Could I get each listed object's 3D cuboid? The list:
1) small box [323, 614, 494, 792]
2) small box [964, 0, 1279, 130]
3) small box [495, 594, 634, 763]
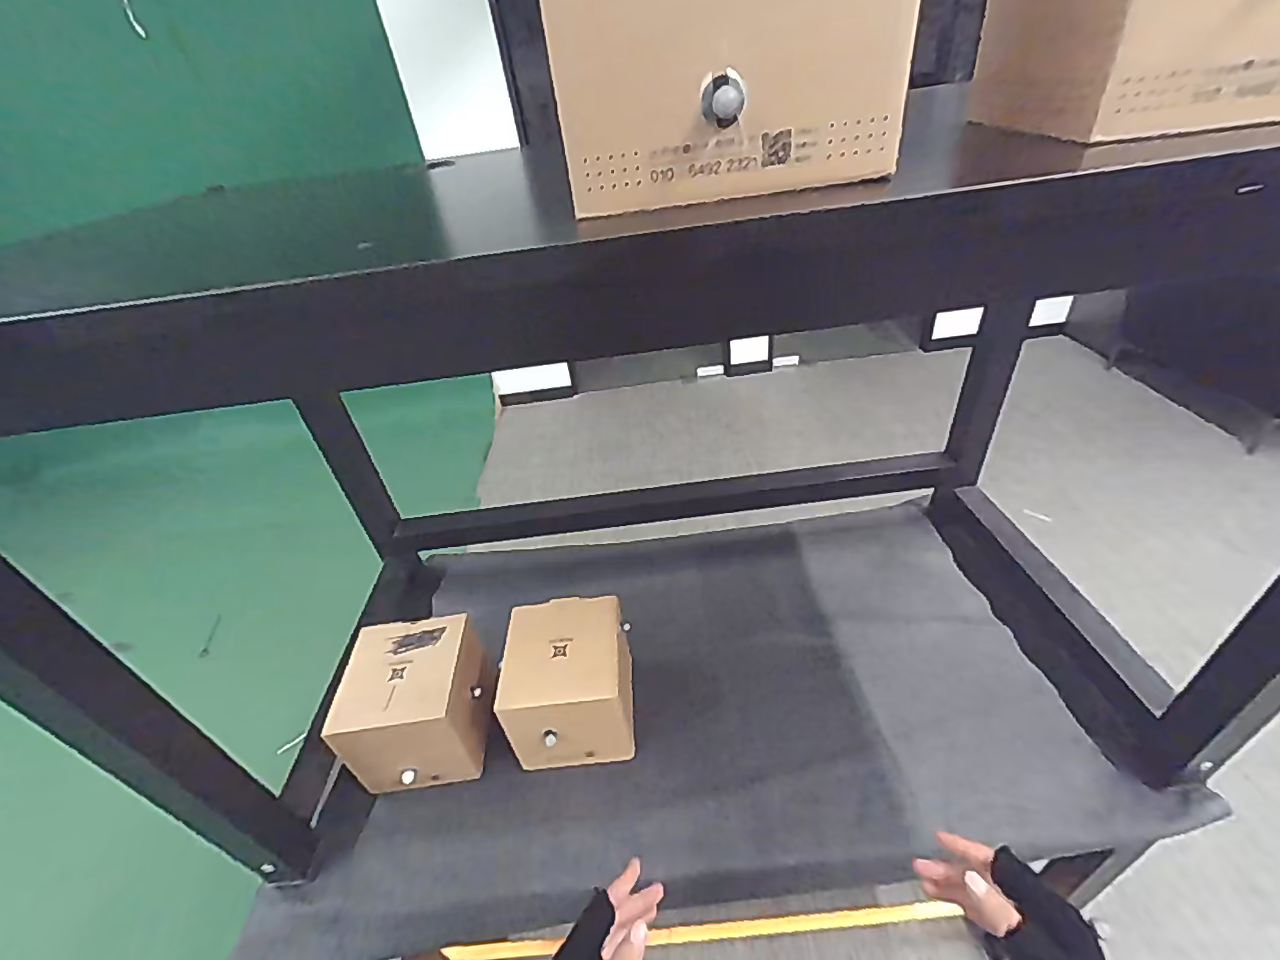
[{"bbox_3d":[-0.327,0.330,0.809,0.168,0.176,0.179,-8,36,0],"label":"small box"},{"bbox_3d":[0.306,-0.299,0.291,0.168,0.176,0.179,-2,36,9],"label":"small box"},{"bbox_3d":[-0.101,0.300,0.809,0.168,0.176,0.179,-7,35,2],"label":"small box"}]
